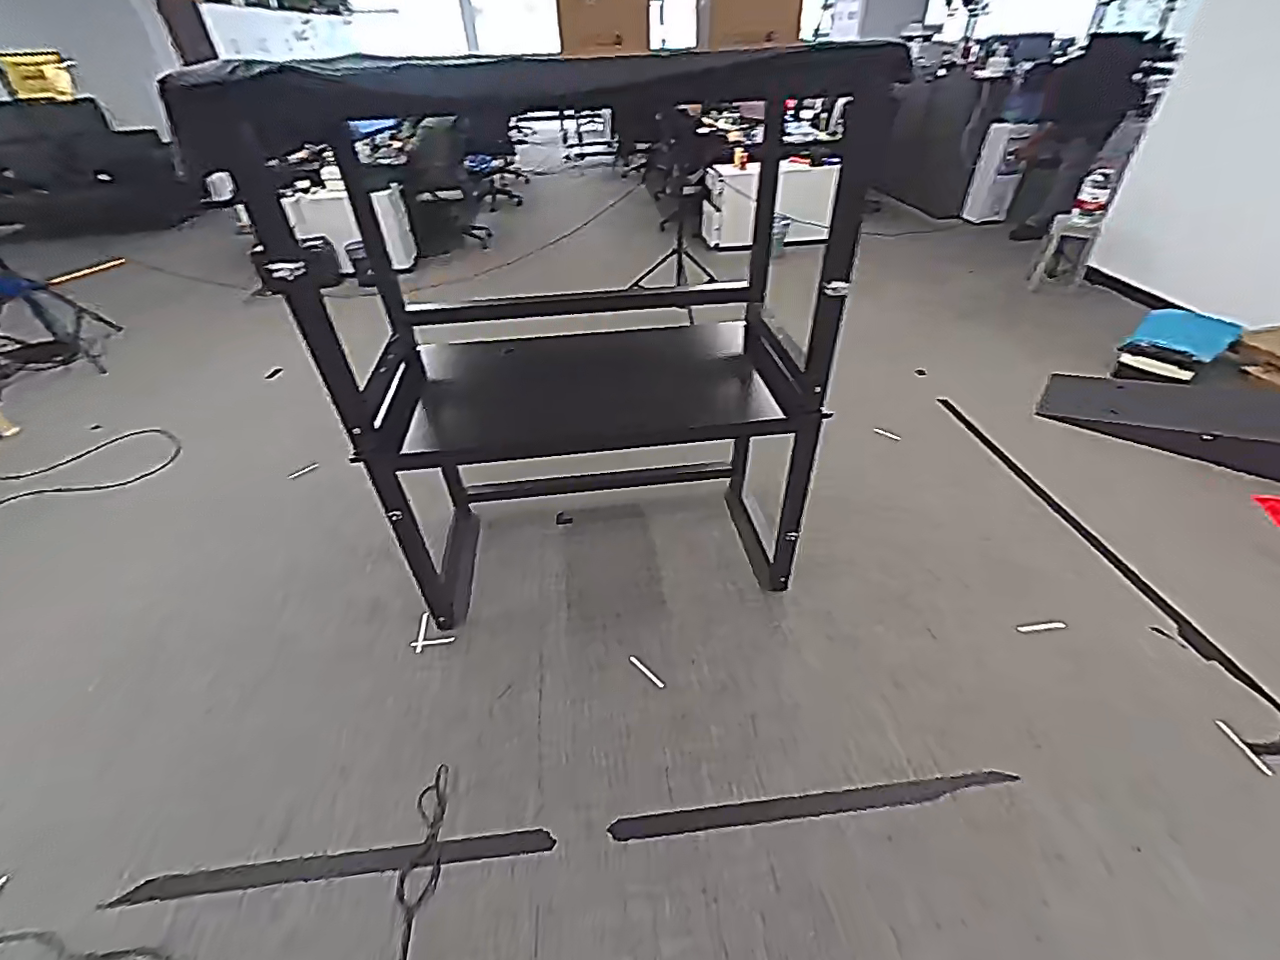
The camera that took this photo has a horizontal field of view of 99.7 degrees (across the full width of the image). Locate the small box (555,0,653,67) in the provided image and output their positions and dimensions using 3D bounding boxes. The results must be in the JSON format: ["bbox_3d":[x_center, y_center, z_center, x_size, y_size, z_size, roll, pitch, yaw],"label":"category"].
[{"bbox_3d":[-0.065,-0.856,0.973,0.168,0.176,0.179,-4,38,-2],"label":"small box"}]
